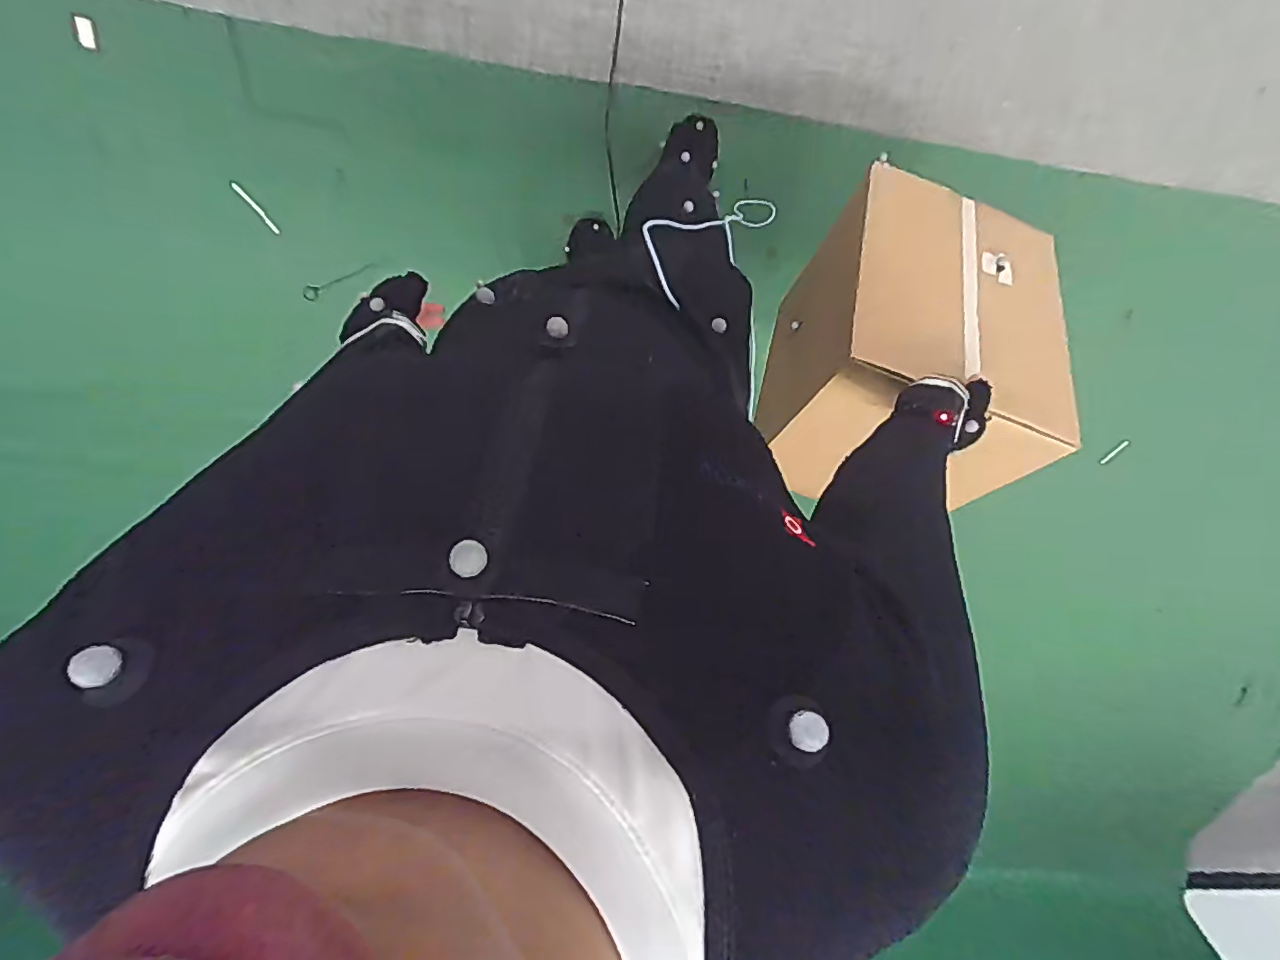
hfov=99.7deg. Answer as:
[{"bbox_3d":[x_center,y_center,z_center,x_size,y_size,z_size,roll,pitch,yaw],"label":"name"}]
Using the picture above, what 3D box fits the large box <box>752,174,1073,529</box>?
[{"bbox_3d":[0.407,-0.188,0.875,0.320,0.408,0.320,21,152,-6],"label":"large box"}]
